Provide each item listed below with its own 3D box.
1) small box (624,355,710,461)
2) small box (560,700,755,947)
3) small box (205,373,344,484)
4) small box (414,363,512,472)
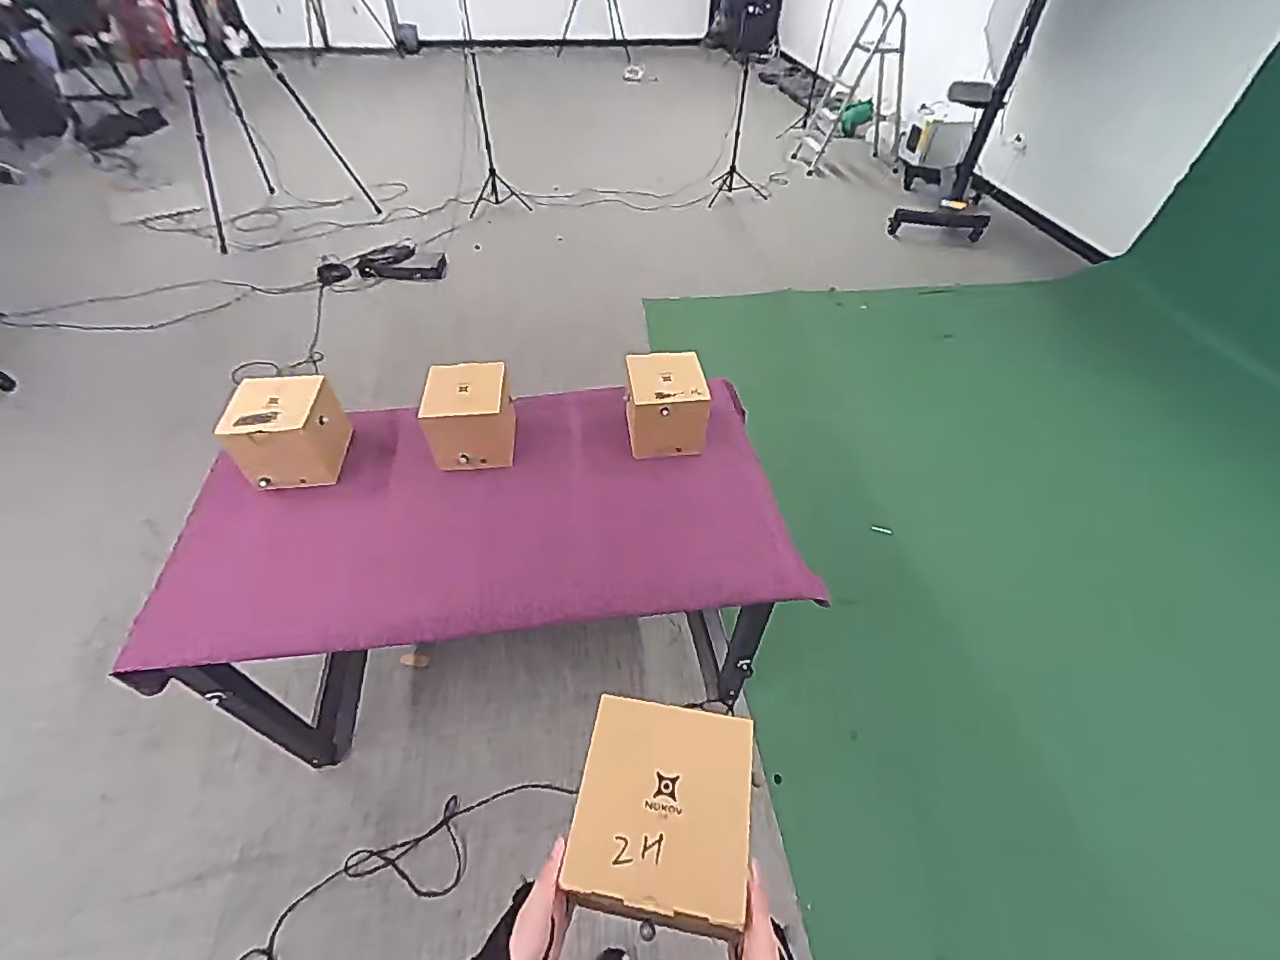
[{"bbox_3d":[0.053,-0.165,1.239,0.168,0.176,0.179,-5,49,-6],"label":"small box"},{"bbox_3d":[0.024,0.367,0.579,0.168,0.176,0.179,8,48,8],"label":"small box"},{"bbox_3d":[-0.752,-0.103,1.138,0.168,0.176,0.179,-4,50,-7],"label":"small box"},{"bbox_3d":[-0.380,-0.139,1.195,0.168,0.176,0.179,-3,50,-5],"label":"small box"}]
